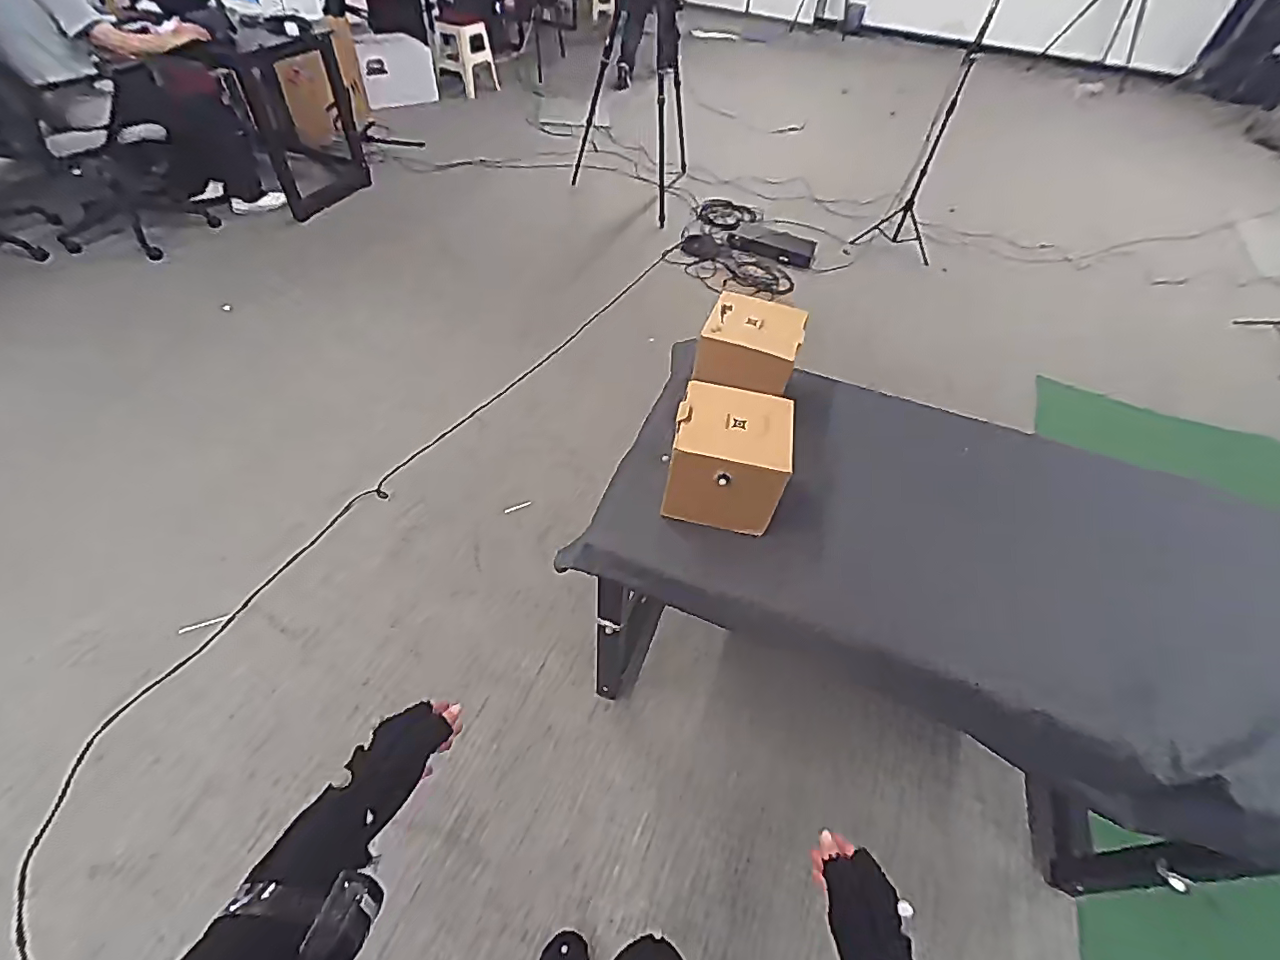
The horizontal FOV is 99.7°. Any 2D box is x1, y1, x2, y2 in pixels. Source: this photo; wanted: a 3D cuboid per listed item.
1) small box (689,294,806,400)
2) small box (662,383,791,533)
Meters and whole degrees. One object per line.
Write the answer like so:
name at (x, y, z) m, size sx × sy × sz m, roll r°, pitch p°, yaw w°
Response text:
small box at (0.208, -0.235, 1.076) m, size 0.179 × 0.176 × 0.168 m, roll 19°, pitch 51°, yaw 9°
small box at (0.139, -0.033, 0.899) m, size 0.179 × 0.176 × 0.168 m, roll 13°, pitch 50°, yaw 3°
